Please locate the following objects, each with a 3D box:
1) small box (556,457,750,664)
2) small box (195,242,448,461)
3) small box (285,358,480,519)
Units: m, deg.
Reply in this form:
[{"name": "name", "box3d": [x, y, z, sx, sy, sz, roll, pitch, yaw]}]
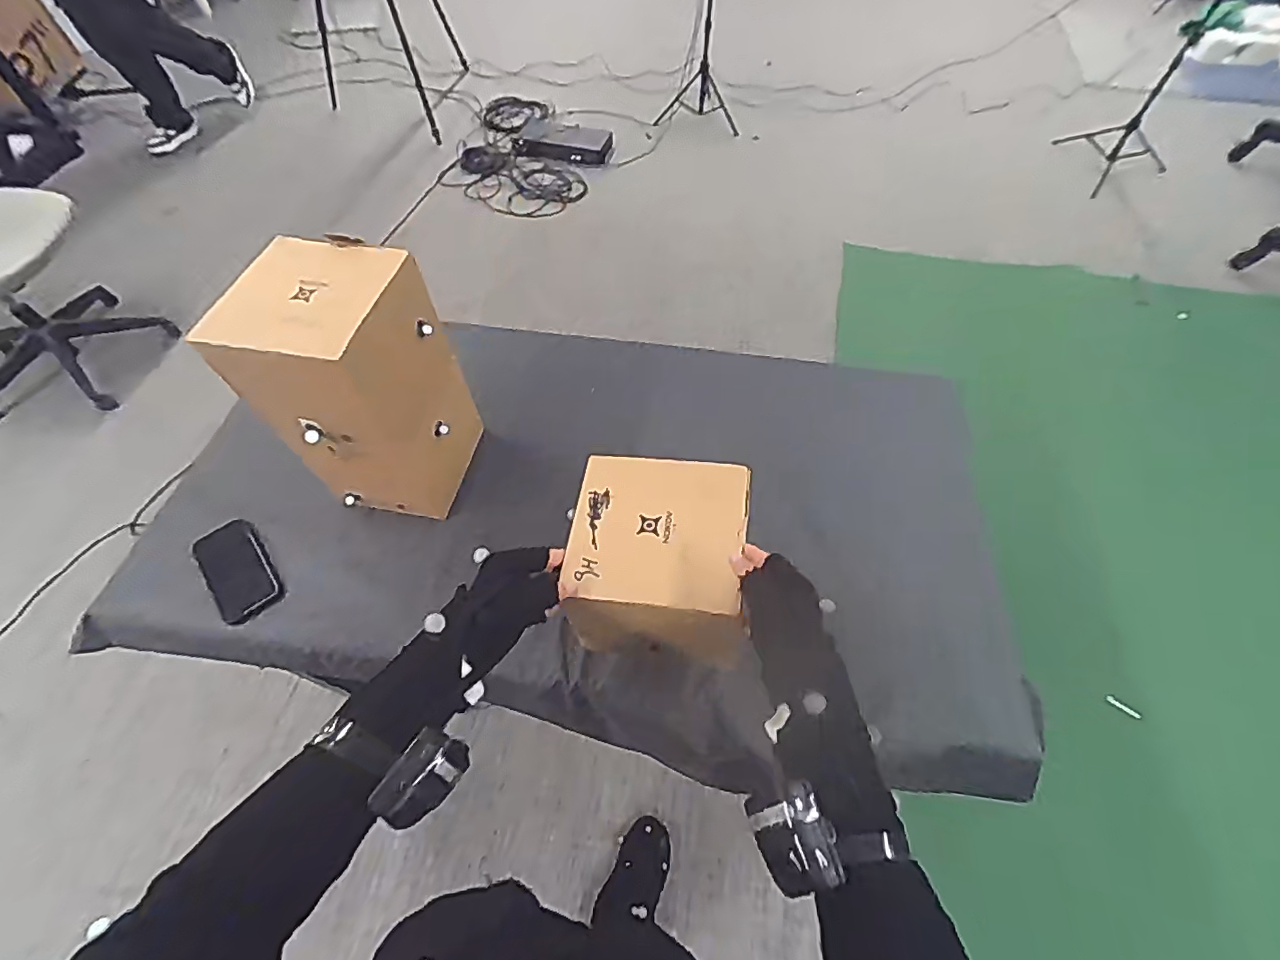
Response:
[{"name": "small box", "box3d": [0.023, 0.096, 0.604, 0.179, 0.176, 0.168, 5, 56, 8]}, {"name": "small box", "box3d": [-0.349, -0.148, 0.639, 0.168, 0.176, 0.179, 8, 58, 6]}, {"name": "small box", "box3d": [-0.349, -0.064, 0.778, 0.168, 0.176, 0.179, 9, 57, 6]}]
